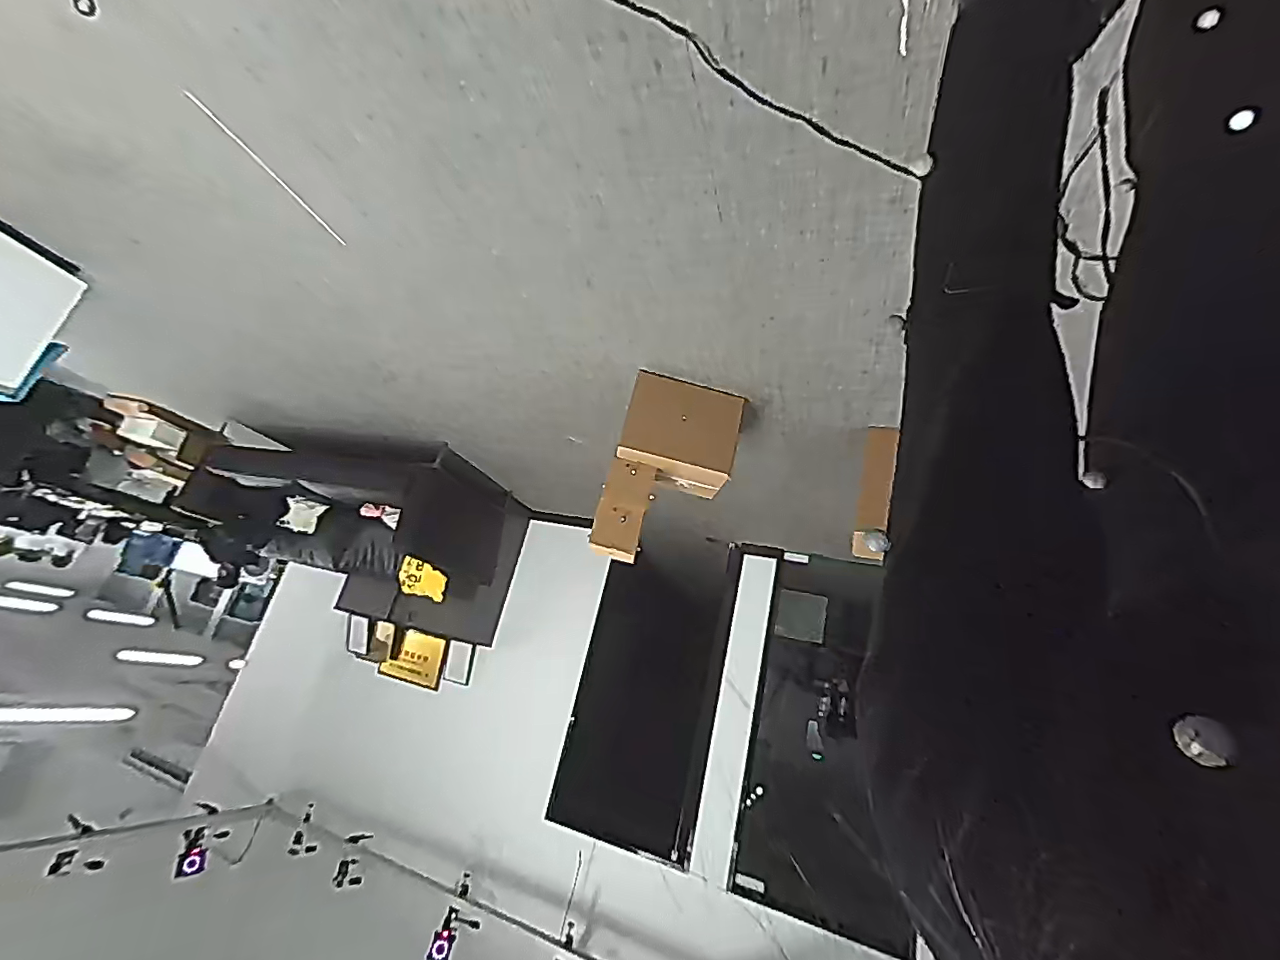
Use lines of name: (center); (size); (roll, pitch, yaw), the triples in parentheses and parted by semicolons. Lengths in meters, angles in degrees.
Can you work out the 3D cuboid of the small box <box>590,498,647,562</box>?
small box: (-0.075, 0.179, 1.941); (0.168, 0.176, 0.179); (13, 161, 3)
